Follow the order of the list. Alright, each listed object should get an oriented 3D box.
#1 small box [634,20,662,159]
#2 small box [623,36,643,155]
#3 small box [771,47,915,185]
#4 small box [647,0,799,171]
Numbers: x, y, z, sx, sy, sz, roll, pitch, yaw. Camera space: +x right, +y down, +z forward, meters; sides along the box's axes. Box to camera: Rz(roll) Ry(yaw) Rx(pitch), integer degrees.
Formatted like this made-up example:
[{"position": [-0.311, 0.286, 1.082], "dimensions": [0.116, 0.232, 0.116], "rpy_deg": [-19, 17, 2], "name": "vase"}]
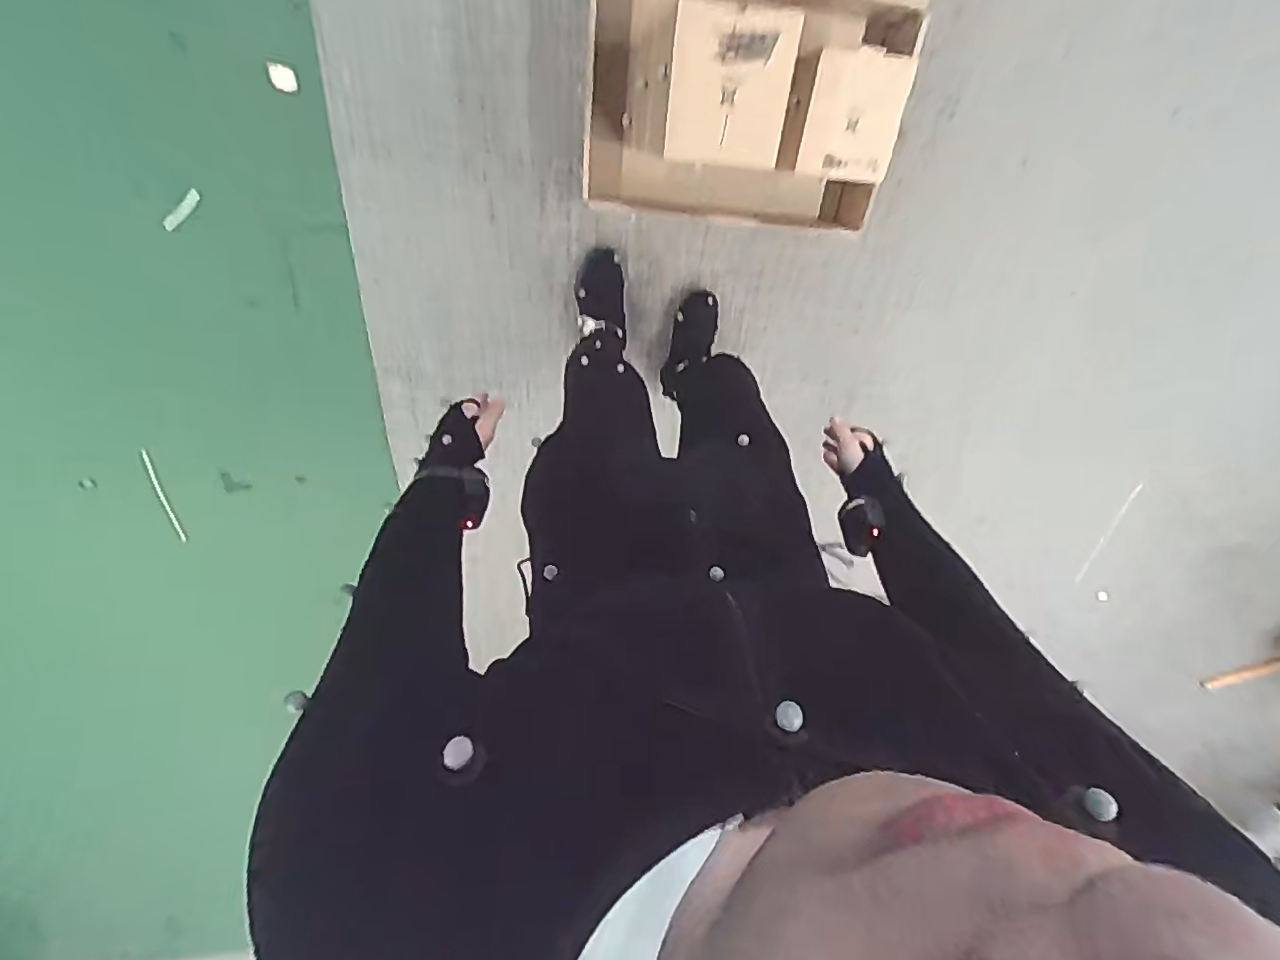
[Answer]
[{"position": [0.082, -0.647, 0.921], "dimensions": [0.168, 0.176, 0.179], "rpy_deg": [1, 122, -8], "name": "small box"}, {"position": [0.059, -0.734, 1.055], "dimensions": [0.168, 0.176, 0.179], "rpy_deg": [1, 122, -9], "name": "small box"}, {"position": [0.343, -0.636, 0.961], "dimensions": [0.168, 0.176, 0.179], "rpy_deg": [2, 121, -7], "name": "small box"}, {"position": [0.106, -0.560, 0.784], "dimensions": [0.168, 0.176, 0.179], "rpy_deg": [1, 123, -8], "name": "small box"}]
